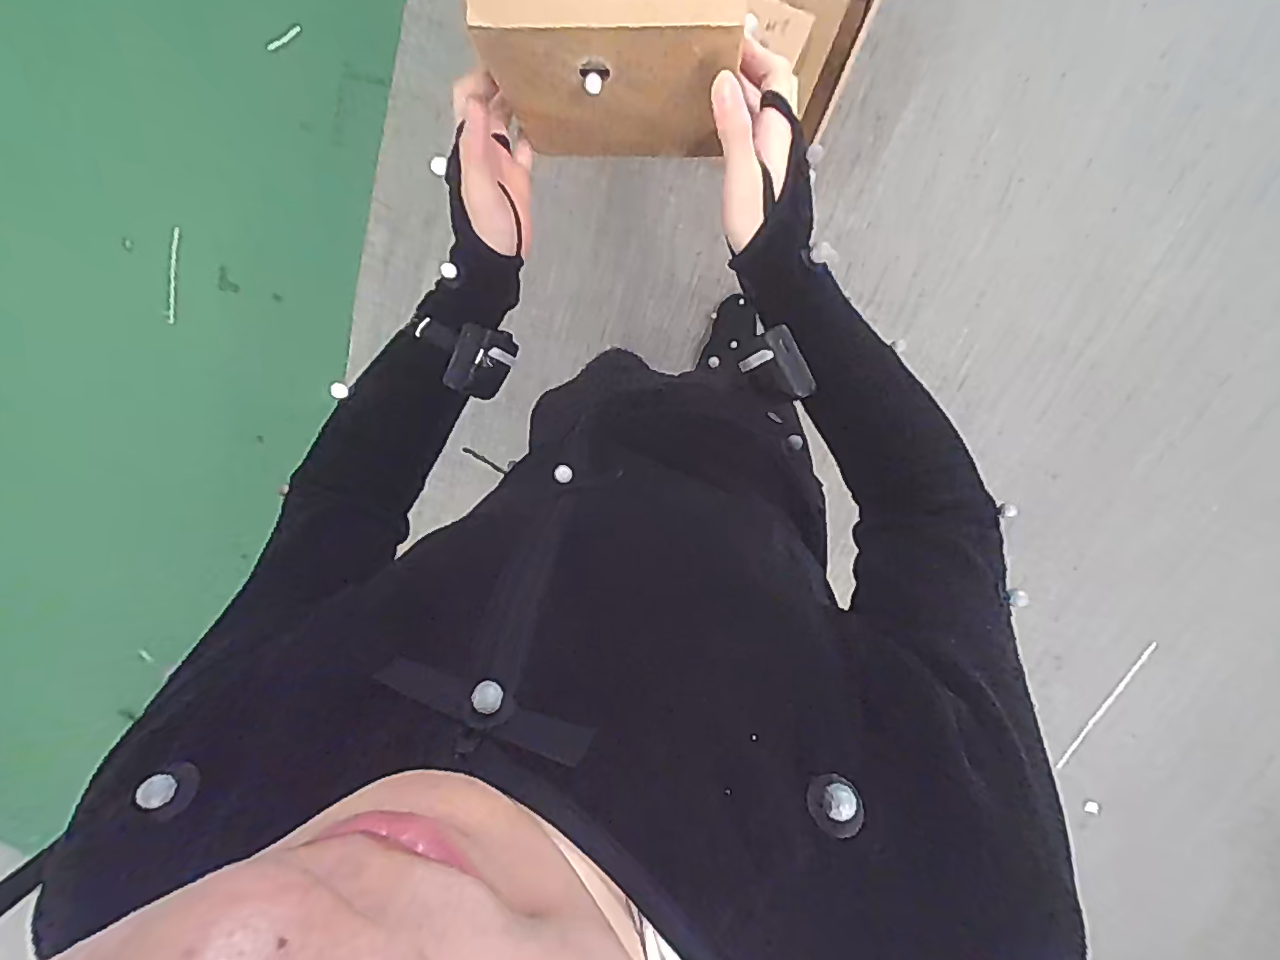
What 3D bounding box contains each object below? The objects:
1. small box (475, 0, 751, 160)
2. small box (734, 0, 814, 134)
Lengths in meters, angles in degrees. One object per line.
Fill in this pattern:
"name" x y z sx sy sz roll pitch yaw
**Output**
"small box" -0.008 -0.367 0.409 0.179 0.176 0.168 3 95 4
"small box" 0.264 -0.903 1.193 0.168 0.176 0.179 26 109 3
